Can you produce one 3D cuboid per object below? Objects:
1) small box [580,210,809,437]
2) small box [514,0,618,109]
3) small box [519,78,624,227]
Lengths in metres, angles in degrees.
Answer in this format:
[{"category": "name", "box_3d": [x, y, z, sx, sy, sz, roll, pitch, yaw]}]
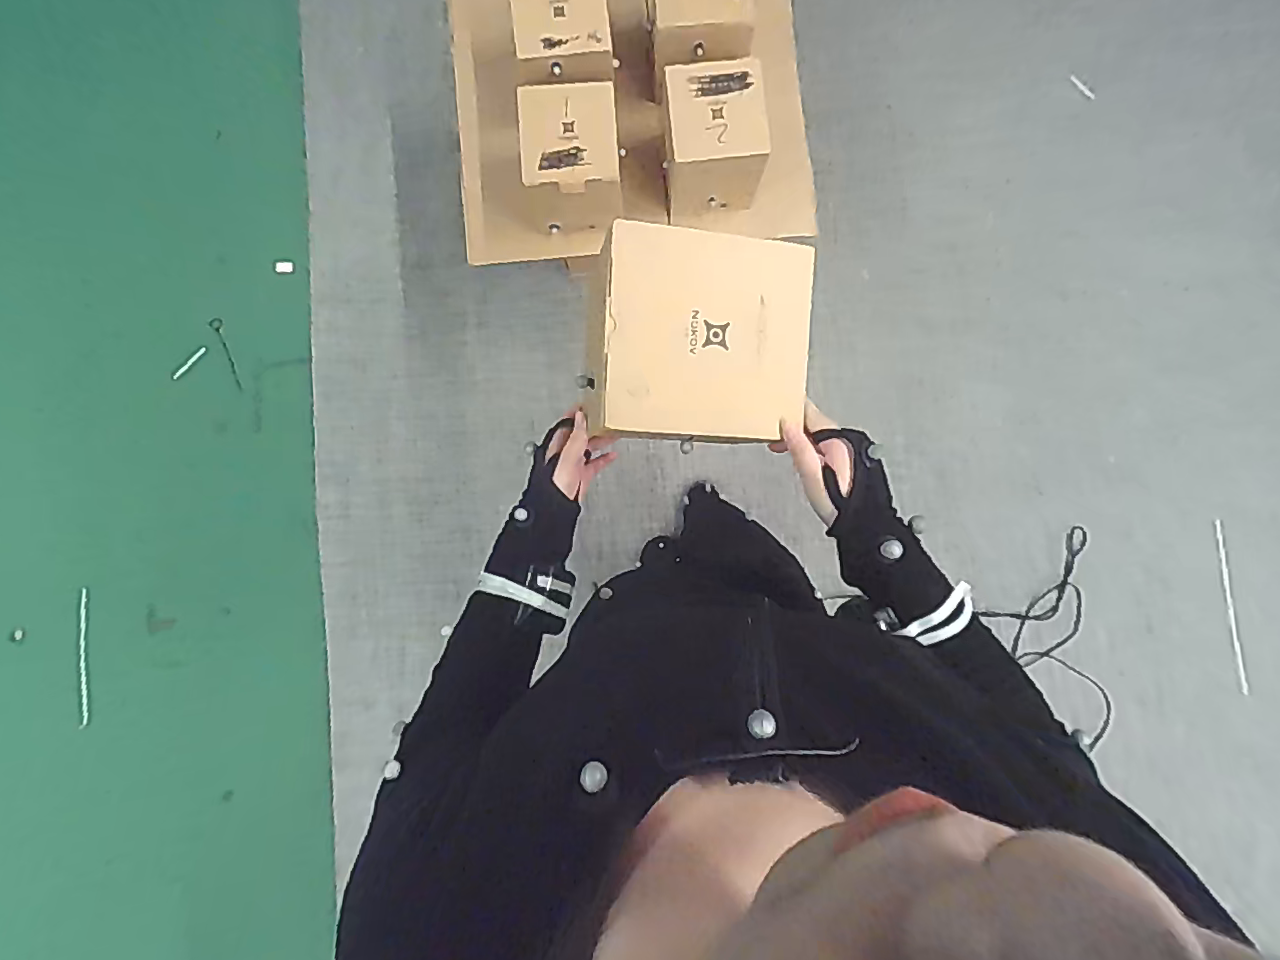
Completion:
[{"category": "small box", "box_3d": [0.037, -0.130, 0.518, 0.179, 0.176, 0.168, 3, 93, -11]}, {"category": "small box", "box_3d": [-0.133, -0.804, 1.001, 0.168, 0.176, 0.179, -6, 85, 1]}, {"category": "small box", "box_3d": [-0.118, -0.583, 0.988, 0.168, 0.176, 0.179, -4, 86, 0]}]
